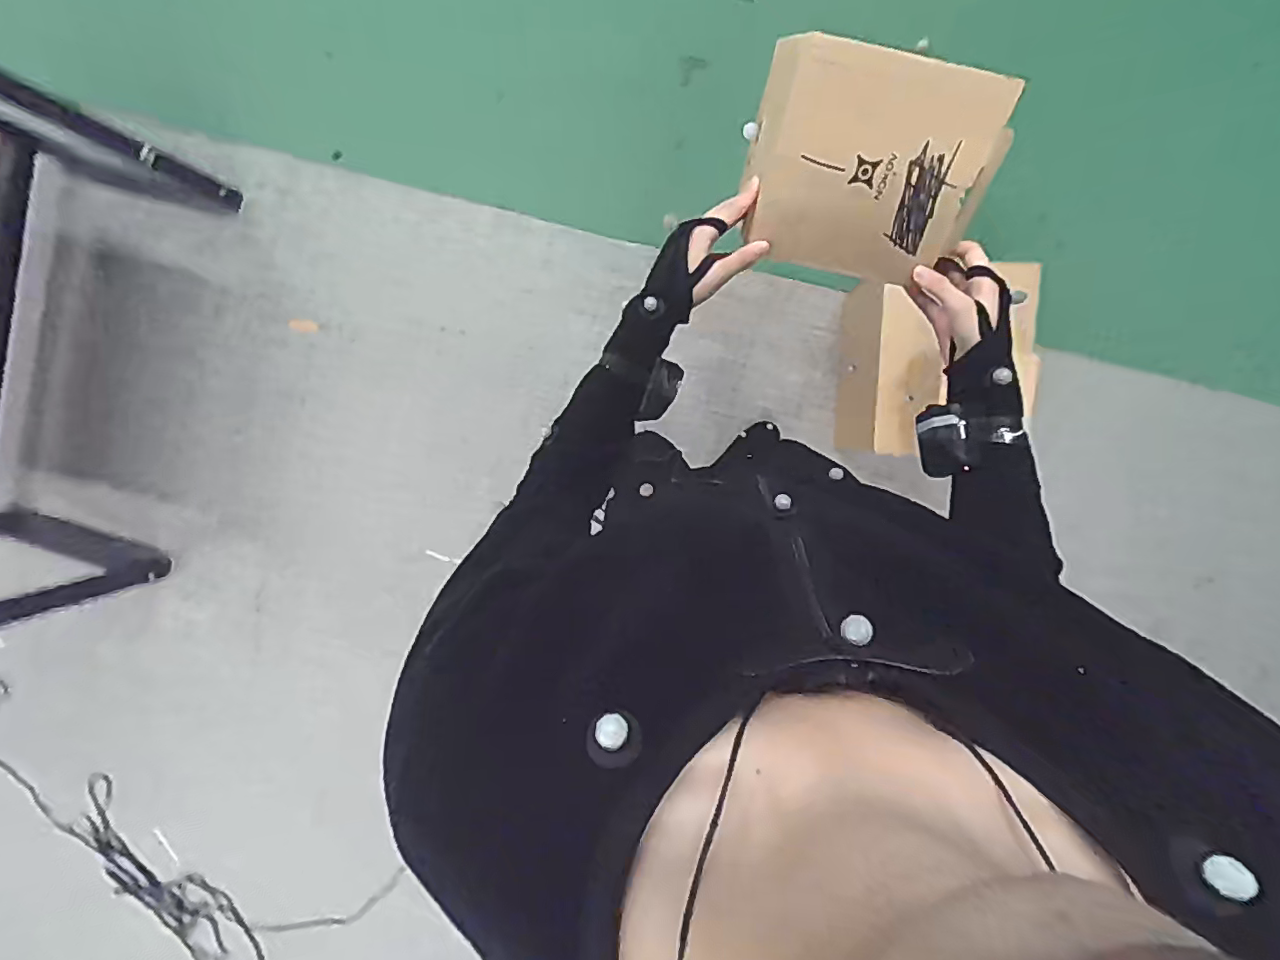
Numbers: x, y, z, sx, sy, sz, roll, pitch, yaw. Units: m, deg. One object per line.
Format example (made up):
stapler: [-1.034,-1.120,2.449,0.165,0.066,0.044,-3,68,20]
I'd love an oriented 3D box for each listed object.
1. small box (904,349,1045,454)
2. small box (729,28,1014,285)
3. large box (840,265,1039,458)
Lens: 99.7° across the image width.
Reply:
small box: [0.635,-0.150,1.051,0.168,0.176,0.179,7,96,5]
small box: [0.196,-0.310,0.522,0.179,0.176,0.168,10,126,-4]
large box: [0.678,-0.257,1.285,0.320,0.320,0.408,2,95,4]
